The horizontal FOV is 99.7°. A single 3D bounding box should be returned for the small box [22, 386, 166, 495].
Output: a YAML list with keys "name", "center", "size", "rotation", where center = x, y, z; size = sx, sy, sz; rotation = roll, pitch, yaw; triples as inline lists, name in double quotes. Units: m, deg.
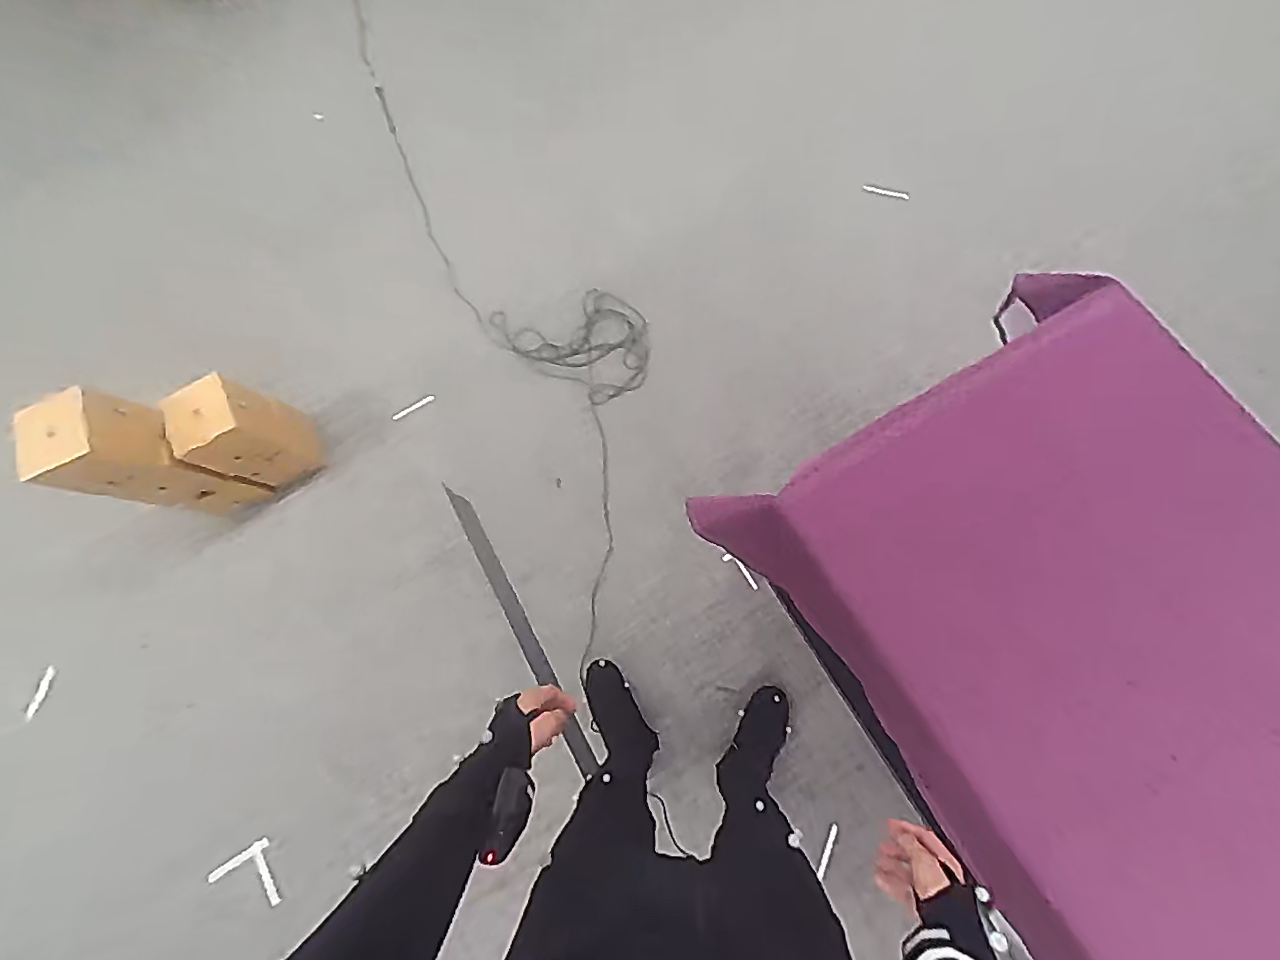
- name: "small box"
  center: [-1.257, -0.085, 1.253]
  size: [0.168, 0.176, 0.179]
  rotation: [-23, 75, 1]
